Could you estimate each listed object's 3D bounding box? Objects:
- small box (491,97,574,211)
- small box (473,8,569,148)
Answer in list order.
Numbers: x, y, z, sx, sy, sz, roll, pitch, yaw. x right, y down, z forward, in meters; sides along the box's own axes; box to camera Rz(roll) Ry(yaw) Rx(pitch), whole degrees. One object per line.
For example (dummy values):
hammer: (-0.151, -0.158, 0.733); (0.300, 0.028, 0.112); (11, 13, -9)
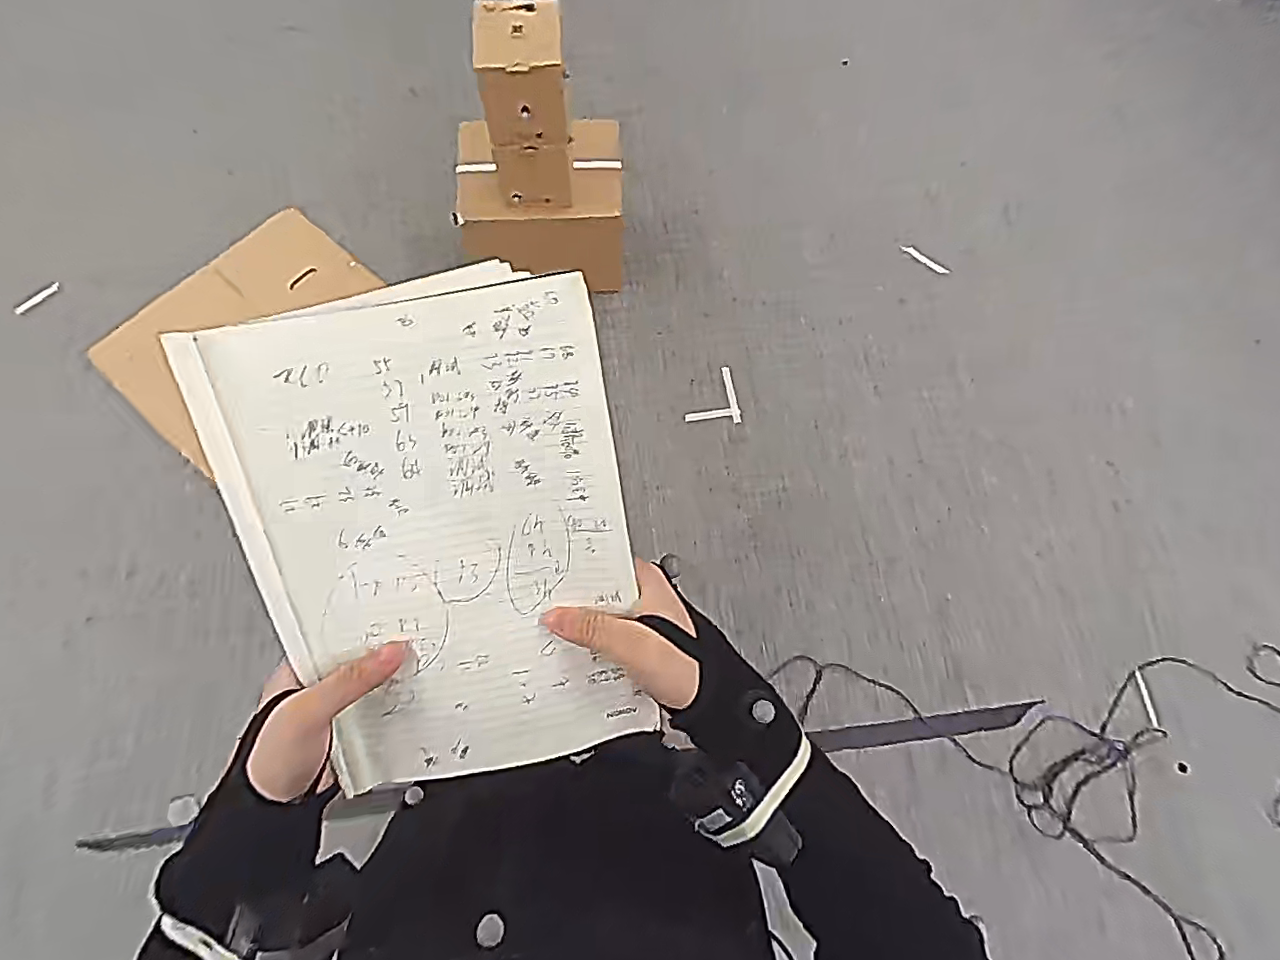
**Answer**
small box: (-0.242, -0.756, 1.260); (0.168, 0.176, 0.179); (-1, 73, -2)
small box: (-0.237, -0.811, 1.105); (0.168, 0.176, 0.179); (-4, 75, -4)
